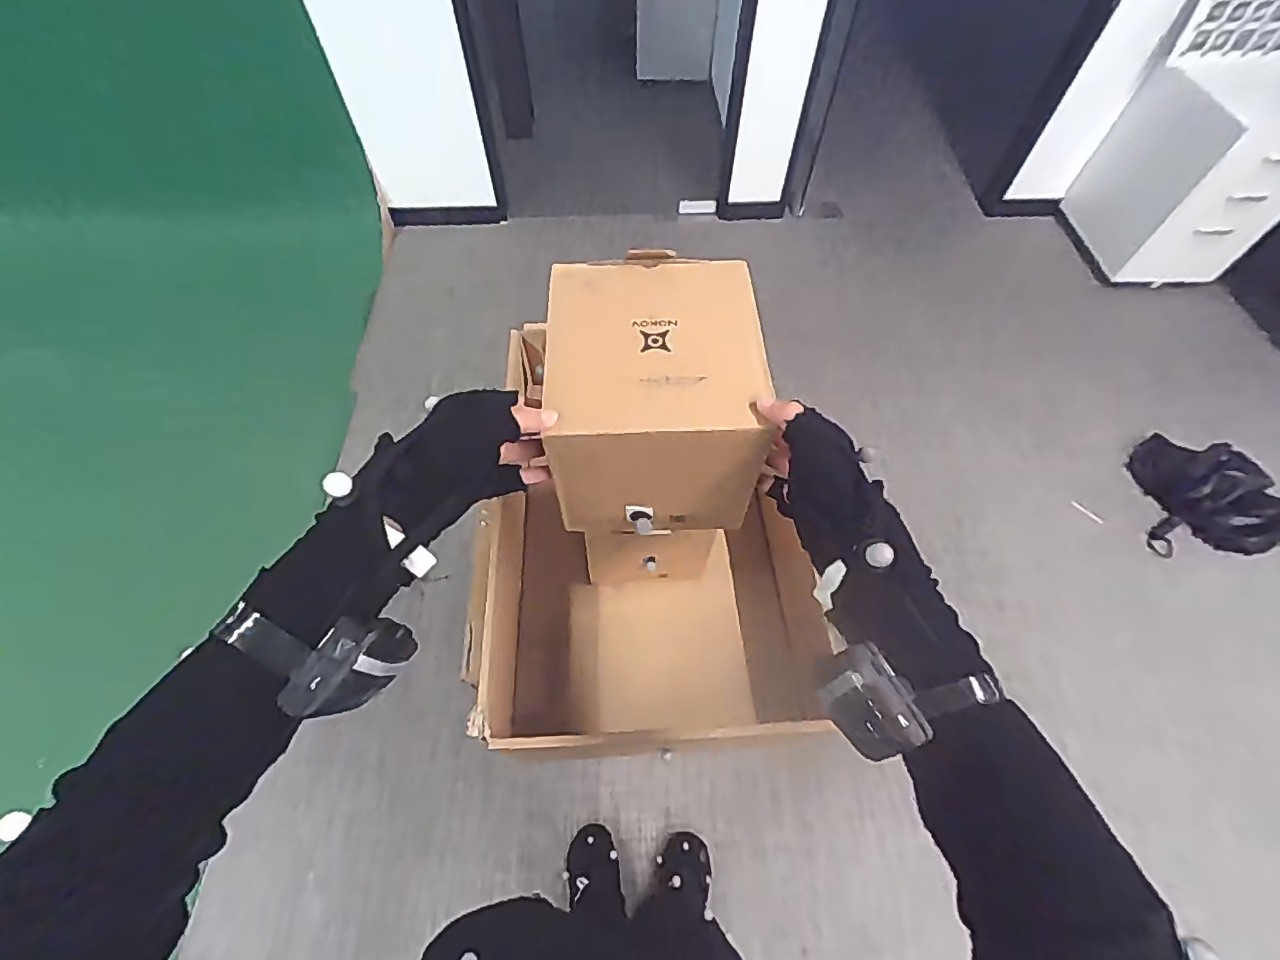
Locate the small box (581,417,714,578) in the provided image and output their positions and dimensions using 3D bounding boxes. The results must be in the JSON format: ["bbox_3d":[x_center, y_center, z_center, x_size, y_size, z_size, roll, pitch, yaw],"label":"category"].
[{"bbox_3d":[0.005,0.032,0.762,0.168,0.176,0.179,-2,59,-4],"label":"small box"}]
